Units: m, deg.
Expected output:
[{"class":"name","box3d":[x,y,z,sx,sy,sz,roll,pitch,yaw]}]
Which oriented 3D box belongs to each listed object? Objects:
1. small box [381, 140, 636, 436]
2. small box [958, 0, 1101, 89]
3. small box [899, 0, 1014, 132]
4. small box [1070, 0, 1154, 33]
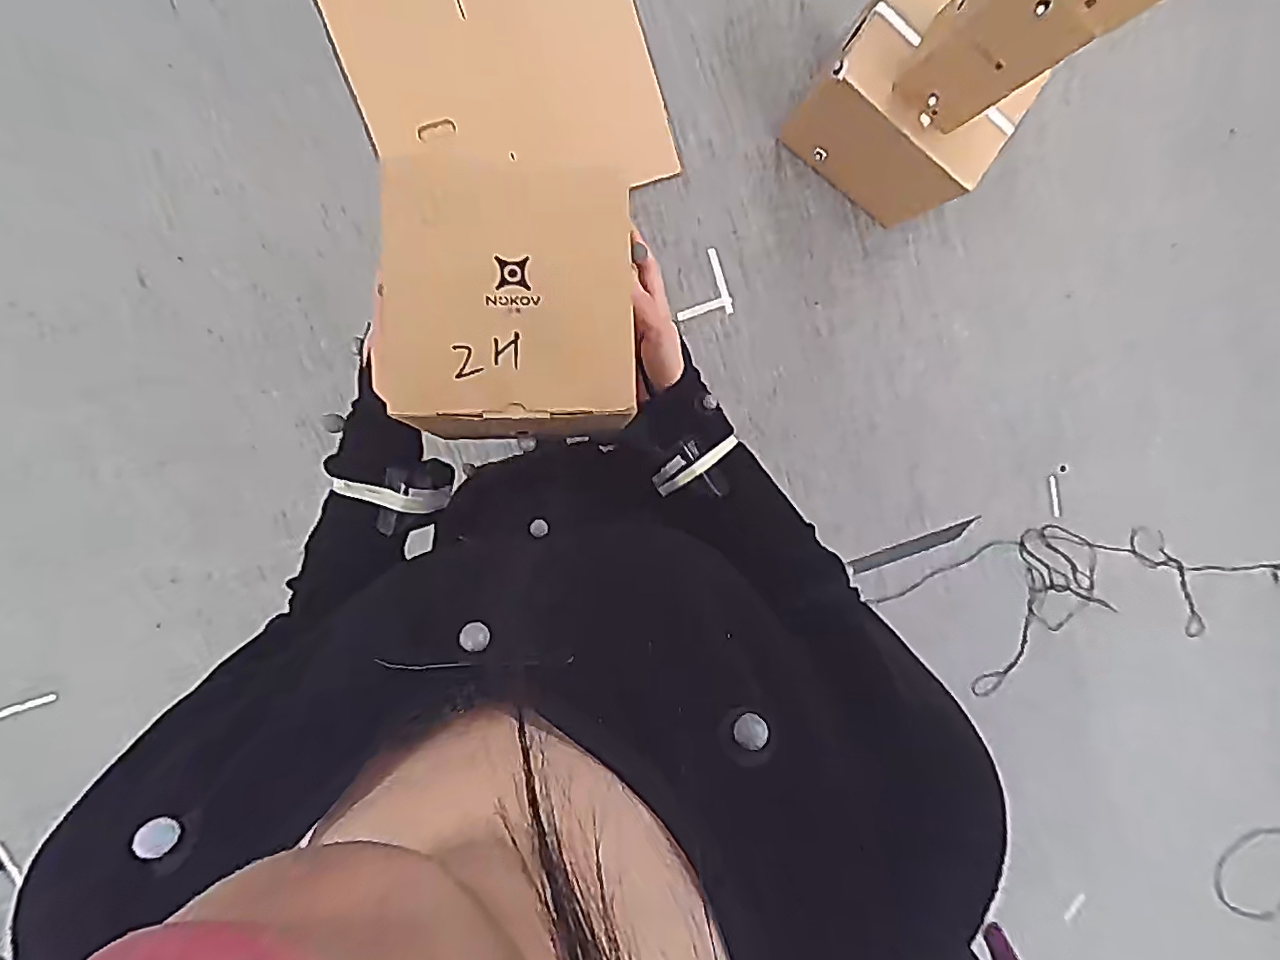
[{"class":"small box","box3d":[-0.097,-0.133,0.437,0.168,0.176,0.179,-2,89,-8]},{"class":"small box","box3d":[0.687,-0.825,0.911,0.168,0.176,0.179,31,93,-13]},{"class":"small box","box3d":[0.659,-0.849,1.071,0.168,0.176,0.179,31,94,-13]},{"class":"small box","box3d":[0.716,-0.794,0.754,0.168,0.176,0.179,31,93,-13]}]
